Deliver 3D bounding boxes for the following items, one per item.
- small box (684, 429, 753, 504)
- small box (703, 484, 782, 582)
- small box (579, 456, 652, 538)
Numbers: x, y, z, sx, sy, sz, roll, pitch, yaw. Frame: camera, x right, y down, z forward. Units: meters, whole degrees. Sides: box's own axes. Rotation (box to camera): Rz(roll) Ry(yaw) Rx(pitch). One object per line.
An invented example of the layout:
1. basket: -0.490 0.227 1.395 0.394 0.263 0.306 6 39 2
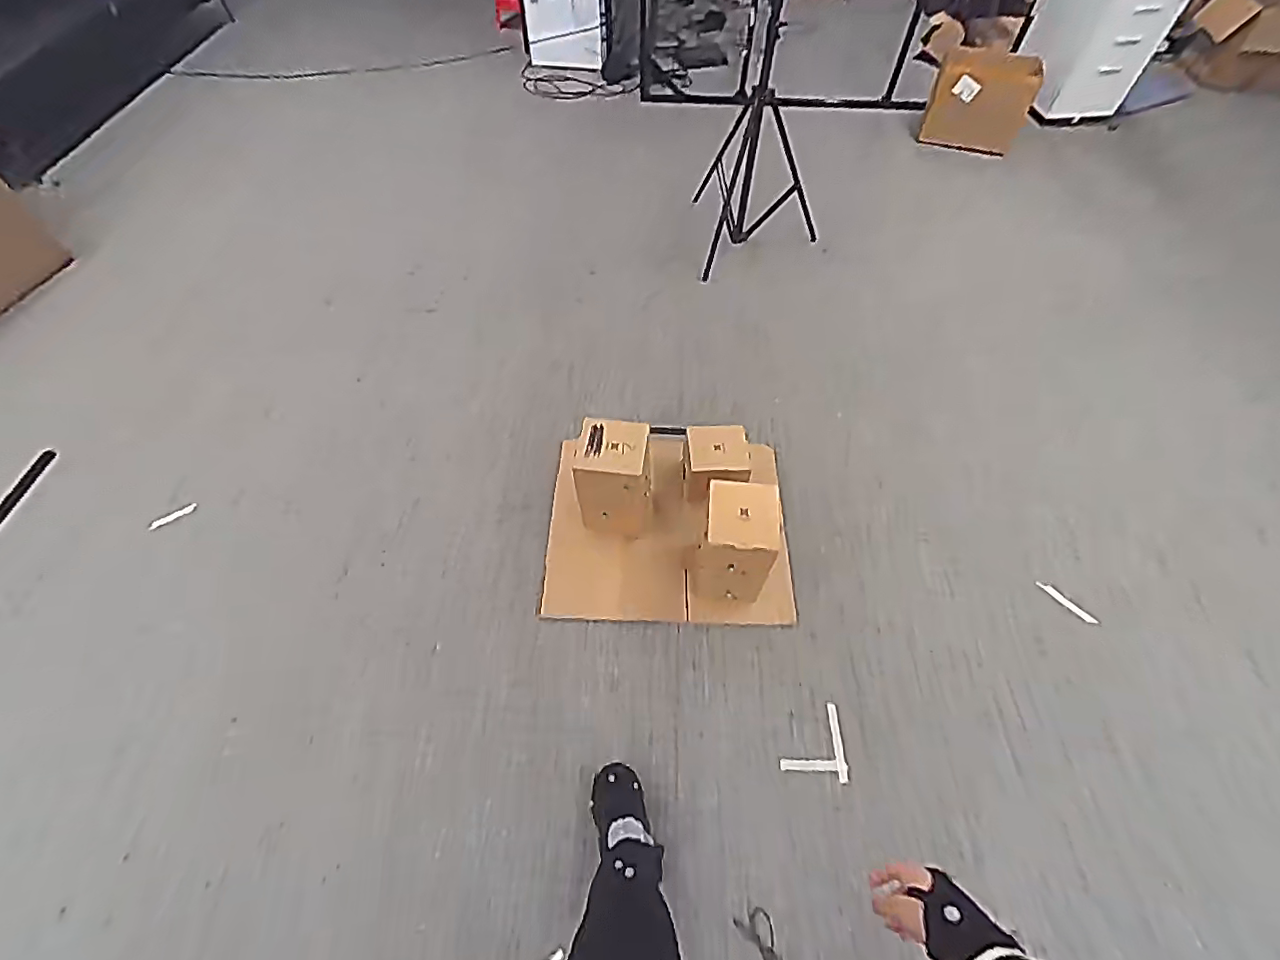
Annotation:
1. small box: 0.232 -0.038 1.635 0.179 0.176 0.168 -2 56 0
2. small box: 0.245 0.131 1.326 0.168 0.176 0.179 5 58 3
3. small box: -0.065 0.053 1.570 0.179 0.176 0.168 9 57 7
